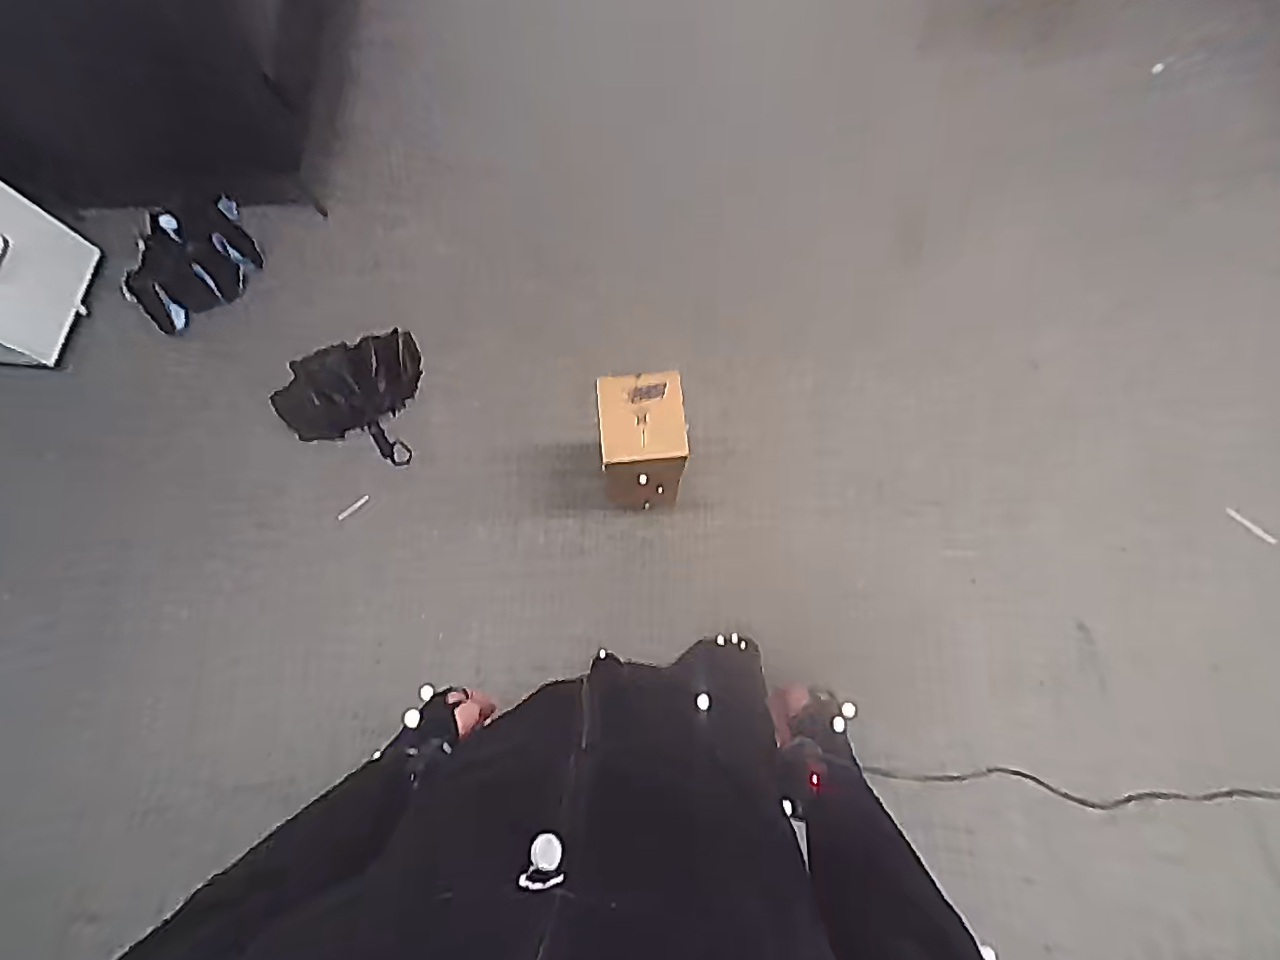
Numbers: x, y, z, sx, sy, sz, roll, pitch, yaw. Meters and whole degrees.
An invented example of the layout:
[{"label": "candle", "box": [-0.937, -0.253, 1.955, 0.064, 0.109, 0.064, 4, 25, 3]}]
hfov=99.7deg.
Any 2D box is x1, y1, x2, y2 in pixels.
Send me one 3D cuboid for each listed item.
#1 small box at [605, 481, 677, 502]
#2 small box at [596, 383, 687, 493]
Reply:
[{"label": "small box", "box": [0.002, -0.046, 1.282, 0.168, 0.176, 0.179, -2, 73, -1]}, {"label": "small box", "box": [0.000, -0.083, 1.121, 0.168, 0.176, 0.179, -6, 76, -1]}]
